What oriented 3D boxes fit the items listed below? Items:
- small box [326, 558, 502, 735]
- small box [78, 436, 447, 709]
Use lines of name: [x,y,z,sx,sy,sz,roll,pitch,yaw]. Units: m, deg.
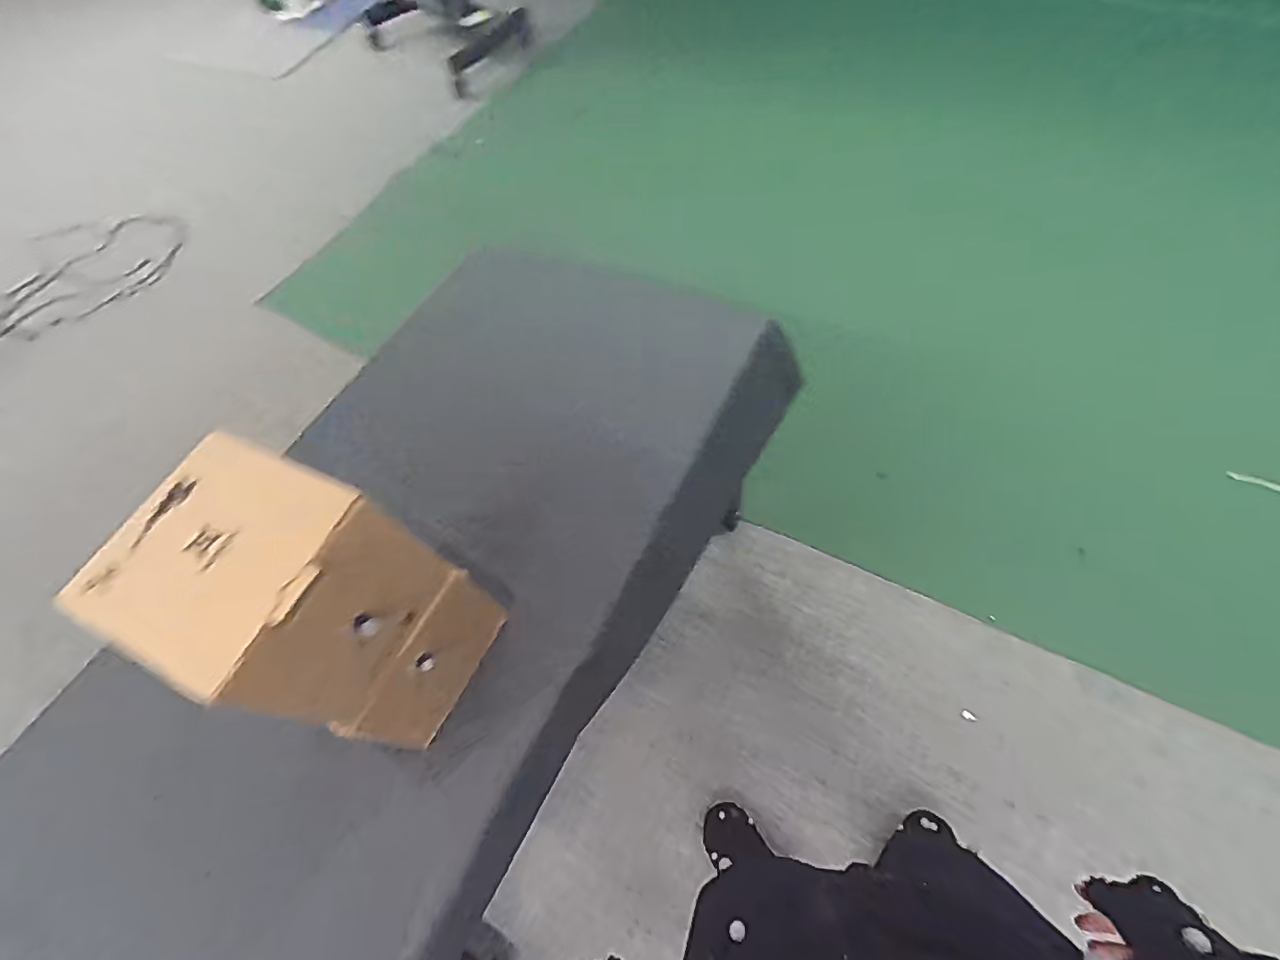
small box: [-0.288,0.174,0.630,0.168,0.176,0.179,21,65,18]
small box: [-0.312,0.092,0.491,0.179,0.176,0.168,20,66,17]
